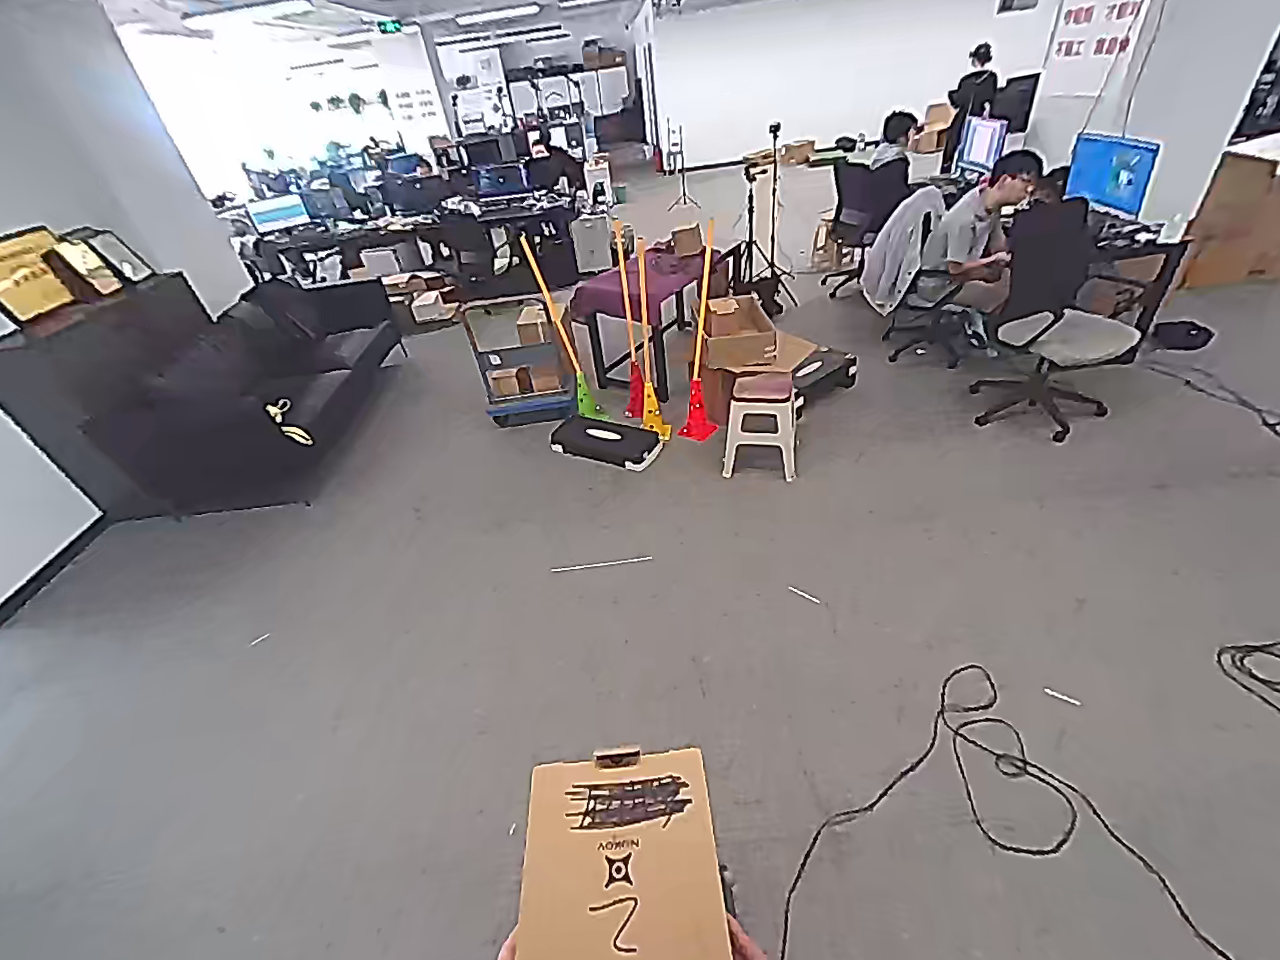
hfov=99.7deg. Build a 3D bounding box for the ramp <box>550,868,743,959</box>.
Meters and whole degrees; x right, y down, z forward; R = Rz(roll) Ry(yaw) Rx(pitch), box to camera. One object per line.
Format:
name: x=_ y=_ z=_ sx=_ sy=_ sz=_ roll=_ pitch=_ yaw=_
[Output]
ramp: x=0.021 y=1.345 z=1.078 sx=0.509 sy=0.206 sz=0.991 roll=-9 pitch=36 yaw=1
